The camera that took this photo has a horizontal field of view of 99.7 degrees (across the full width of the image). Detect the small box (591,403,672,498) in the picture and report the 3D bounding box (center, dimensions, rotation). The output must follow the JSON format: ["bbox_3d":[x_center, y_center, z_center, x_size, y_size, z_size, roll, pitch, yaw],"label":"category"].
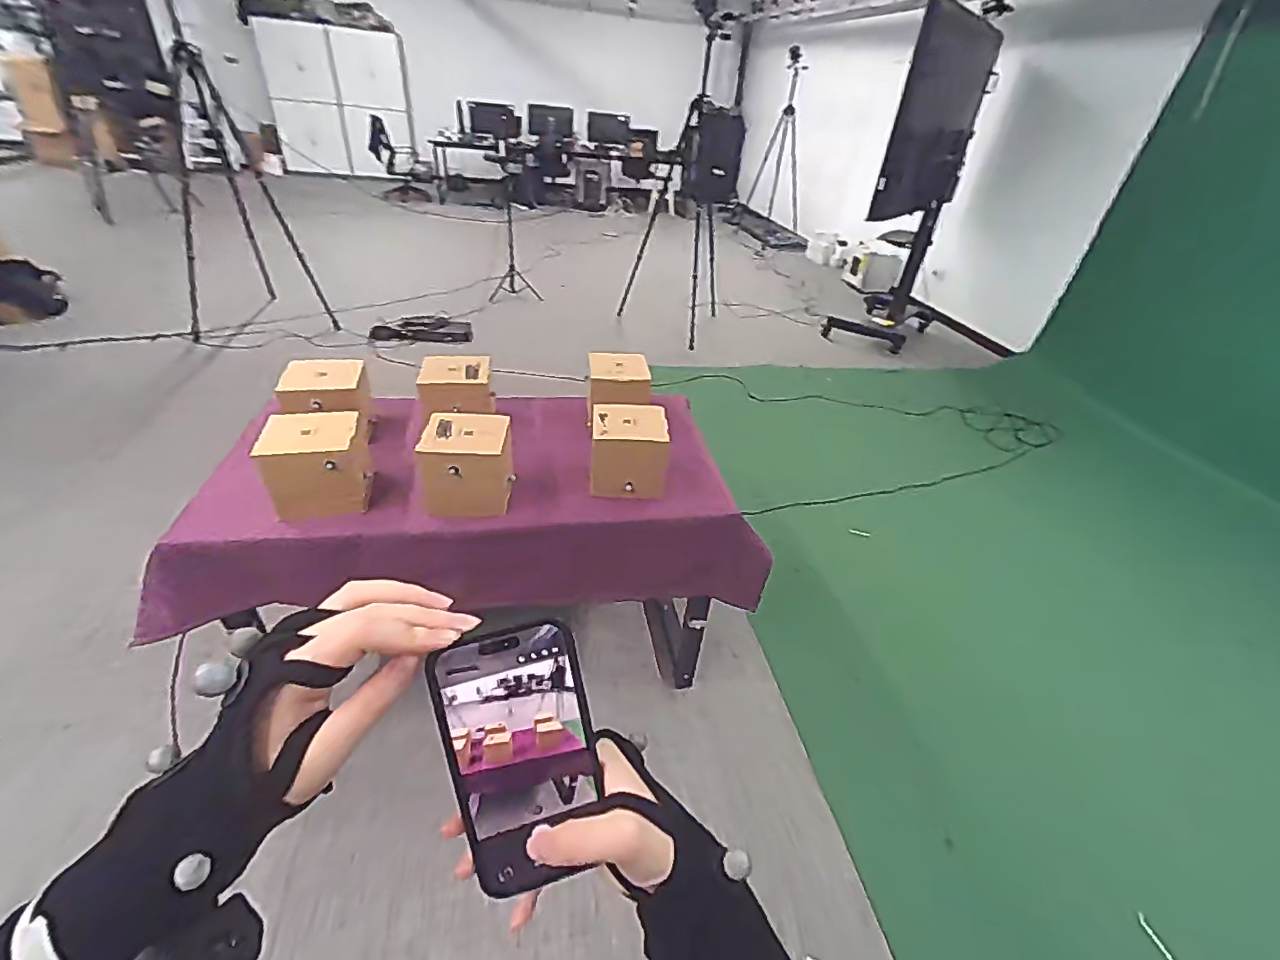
[{"bbox_3d":[-0.026,-0.071,1.319,0.179,0.176,0.168,3,36,-5],"label":"small box"}]

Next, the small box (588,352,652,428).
[{"bbox_3d":[-0.064,-0.257,1.569,0.168,0.176,0.179,0,37,-8],"label":"small box"}]

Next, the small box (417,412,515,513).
[{"bbox_3d":[-0.383,-0.040,1.223,0.179,0.176,0.168,2,36,-7],"label":"small box"}]

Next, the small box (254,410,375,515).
[{"bbox_3d":[-0.693,-0.038,1.175,0.179,0.176,0.168,-4,37,-16],"label":"small box"}]
